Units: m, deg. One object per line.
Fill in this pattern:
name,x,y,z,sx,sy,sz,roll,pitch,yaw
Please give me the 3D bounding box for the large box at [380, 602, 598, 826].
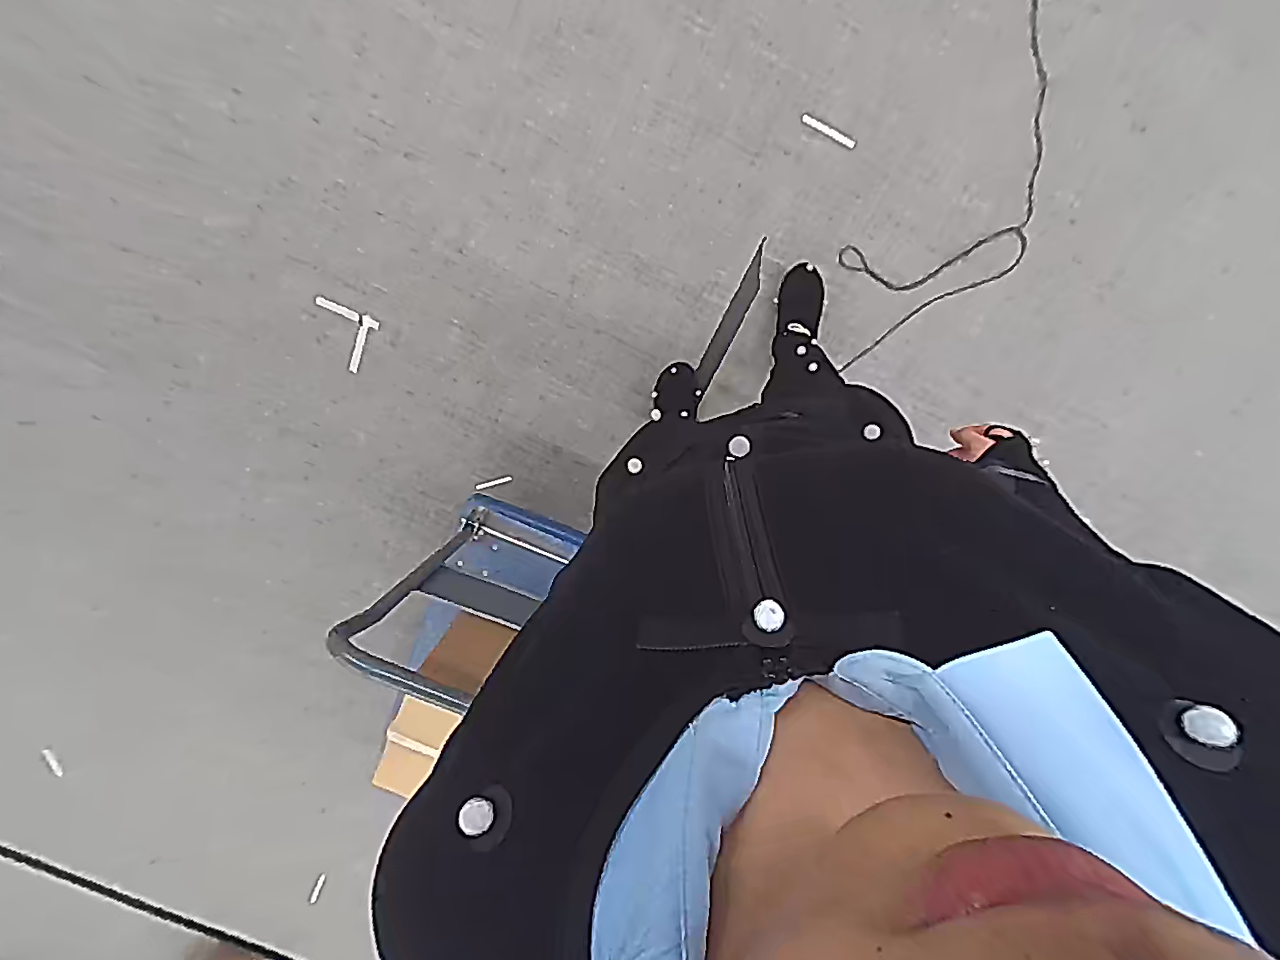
large box,-0.356,0.569,1.361,0.408,0.320,0.320,24,105,-5
